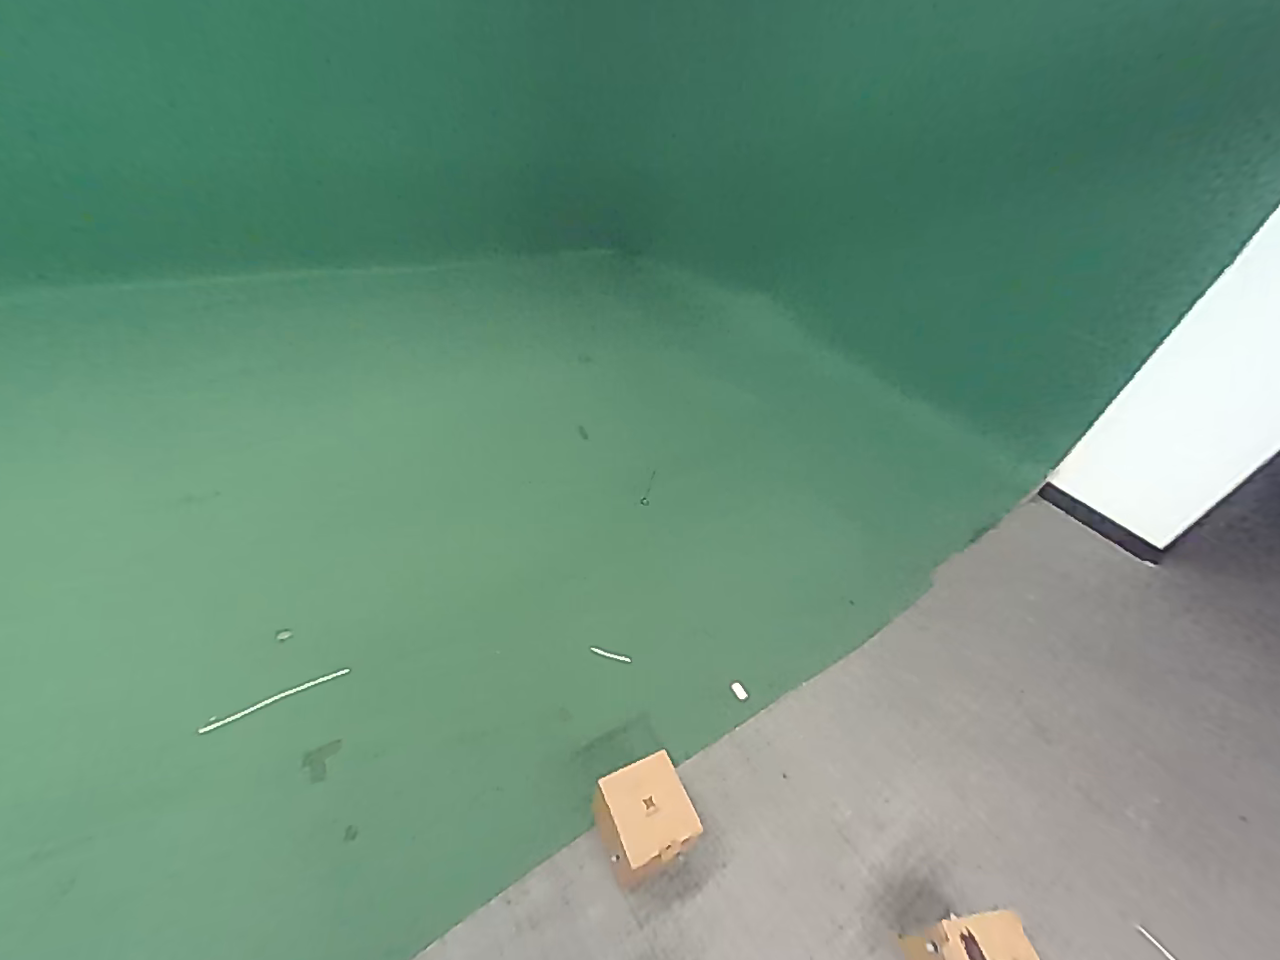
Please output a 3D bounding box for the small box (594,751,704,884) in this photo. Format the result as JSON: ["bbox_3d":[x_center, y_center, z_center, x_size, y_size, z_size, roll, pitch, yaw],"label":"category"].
[{"bbox_3d":[0.011,0.731,1.163,0.168,0.176,0.179,-12,45,-26],"label":"small box"}]
